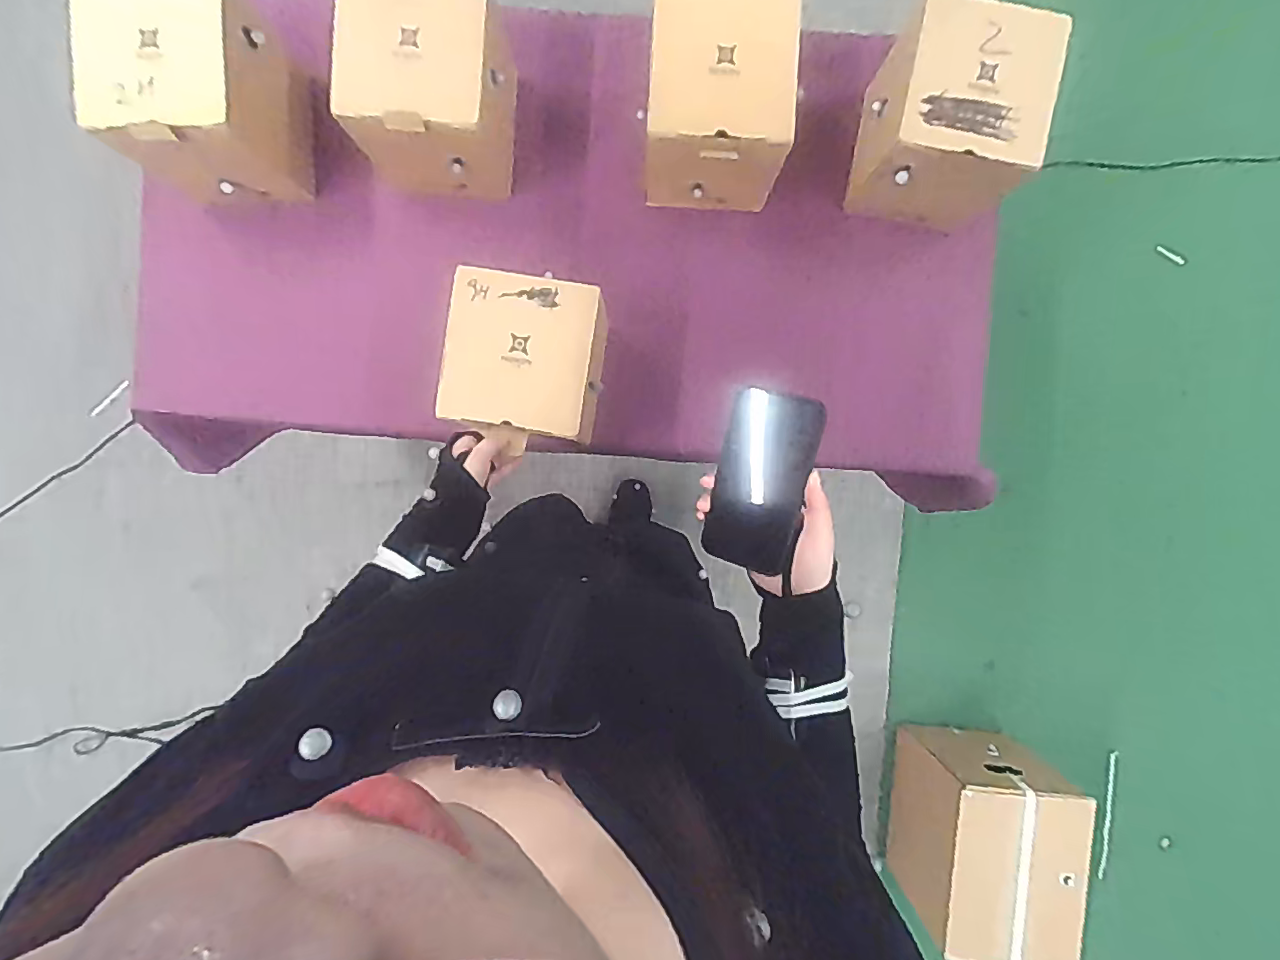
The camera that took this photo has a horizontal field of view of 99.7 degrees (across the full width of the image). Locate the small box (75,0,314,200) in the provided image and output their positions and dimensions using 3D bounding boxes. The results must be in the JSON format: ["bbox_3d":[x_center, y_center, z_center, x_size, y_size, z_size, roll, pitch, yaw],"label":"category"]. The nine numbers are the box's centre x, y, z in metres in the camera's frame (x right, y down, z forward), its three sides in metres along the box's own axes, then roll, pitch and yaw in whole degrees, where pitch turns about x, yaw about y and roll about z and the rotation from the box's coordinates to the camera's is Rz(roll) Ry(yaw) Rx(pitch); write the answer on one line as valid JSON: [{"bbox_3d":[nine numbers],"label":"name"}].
[{"bbox_3d":[-0.535,-0.479,0.673,0.168,0.176,0.179,-1,92,0],"label":"small box"}]

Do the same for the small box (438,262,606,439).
[{"bbox_3d":[-0.137,-0.150,0.687,0.168,0.176,0.179,9,92,-1],"label":"small box"}]

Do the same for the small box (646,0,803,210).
[{"bbox_3d":[0.095,-0.471,0.680,0.168,0.176,0.179,3,92,0],"label":"small box"}]

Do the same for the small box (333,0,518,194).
[{"bbox_3d":[-0.254,-0.487,0.677,0.168,0.176,0.179,5,92,-2],"label":"small box"}]
